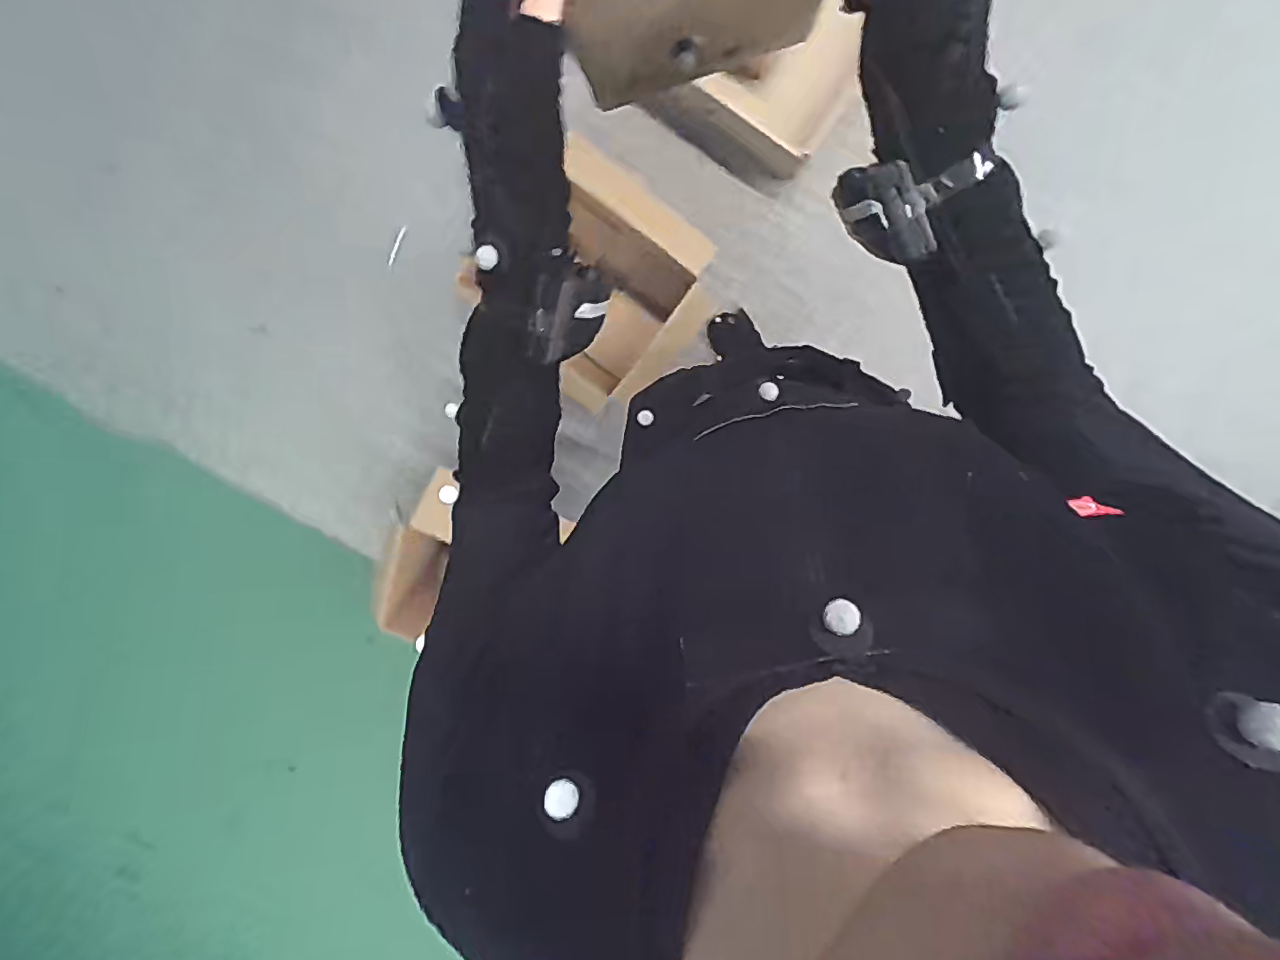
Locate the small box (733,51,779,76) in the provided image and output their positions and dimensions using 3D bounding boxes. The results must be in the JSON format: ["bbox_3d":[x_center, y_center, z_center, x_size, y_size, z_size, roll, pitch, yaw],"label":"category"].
[{"bbox_3d":[0.233,-0.972,1.099,0.179,0.176,0.168,36,104,-1],"label":"small box"}]

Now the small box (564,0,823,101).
[{"bbox_3d":[0.020,-0.367,0.313,0.168,0.176,0.179,-12,106,10],"label":"small box"}]
